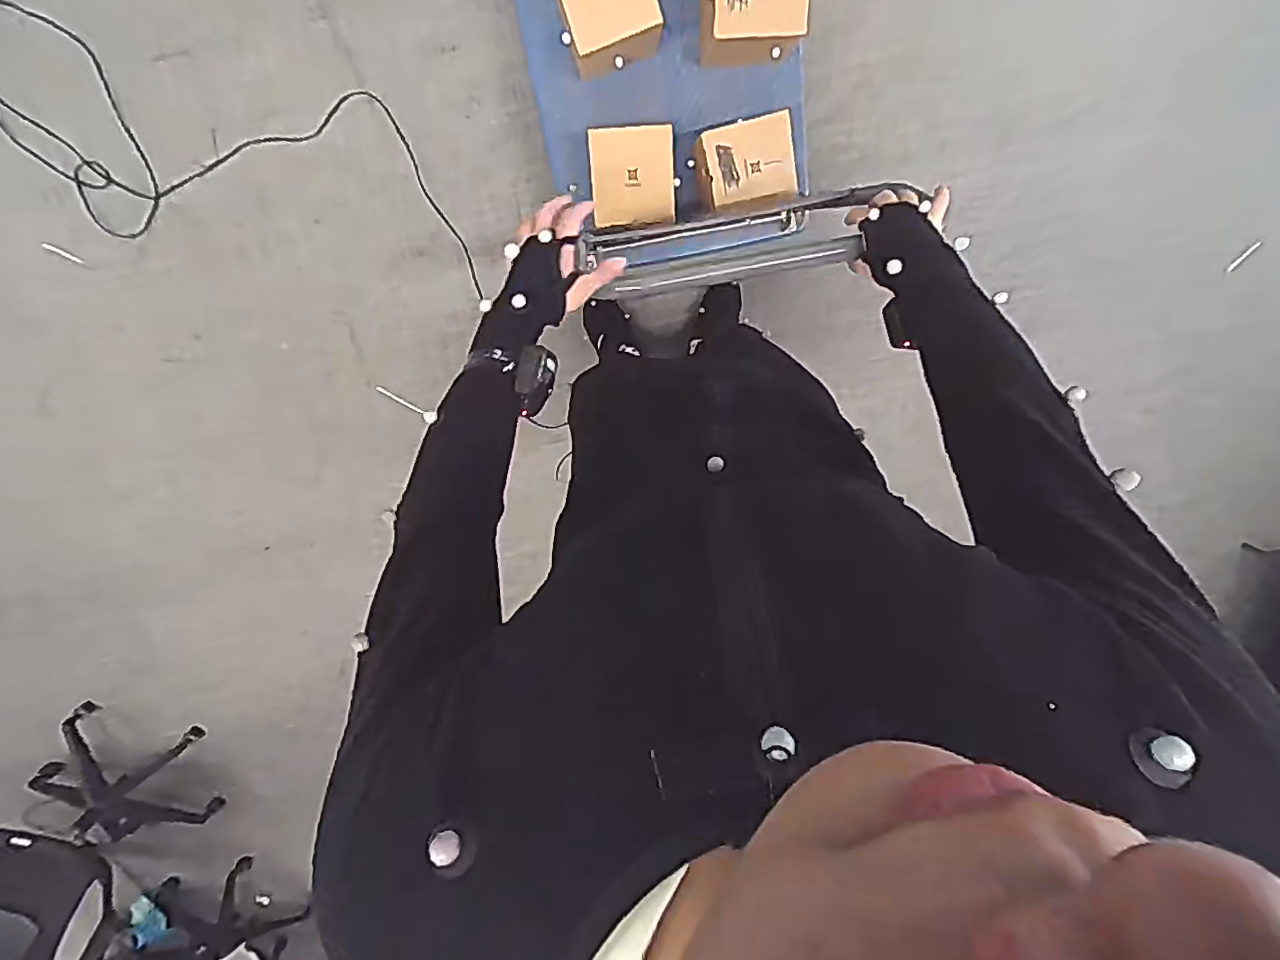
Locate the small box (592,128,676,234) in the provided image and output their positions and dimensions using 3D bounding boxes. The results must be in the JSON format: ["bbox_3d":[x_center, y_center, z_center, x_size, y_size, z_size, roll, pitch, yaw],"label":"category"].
[{"bbox_3d":[-0.016,-0.626,1.147,0.168,0.176,0.179,-4,113,-2],"label":"small box"}]

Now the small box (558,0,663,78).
[{"bbox_3d":[-0.063,-0.904,1.032,0.168,0.176,0.179,-19,112,4],"label":"small box"}]

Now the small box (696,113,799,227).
[{"bbox_3d":[0.220,-0.646,1.149,0.179,0.176,0.168,-13,113,2],"label":"small box"}]
